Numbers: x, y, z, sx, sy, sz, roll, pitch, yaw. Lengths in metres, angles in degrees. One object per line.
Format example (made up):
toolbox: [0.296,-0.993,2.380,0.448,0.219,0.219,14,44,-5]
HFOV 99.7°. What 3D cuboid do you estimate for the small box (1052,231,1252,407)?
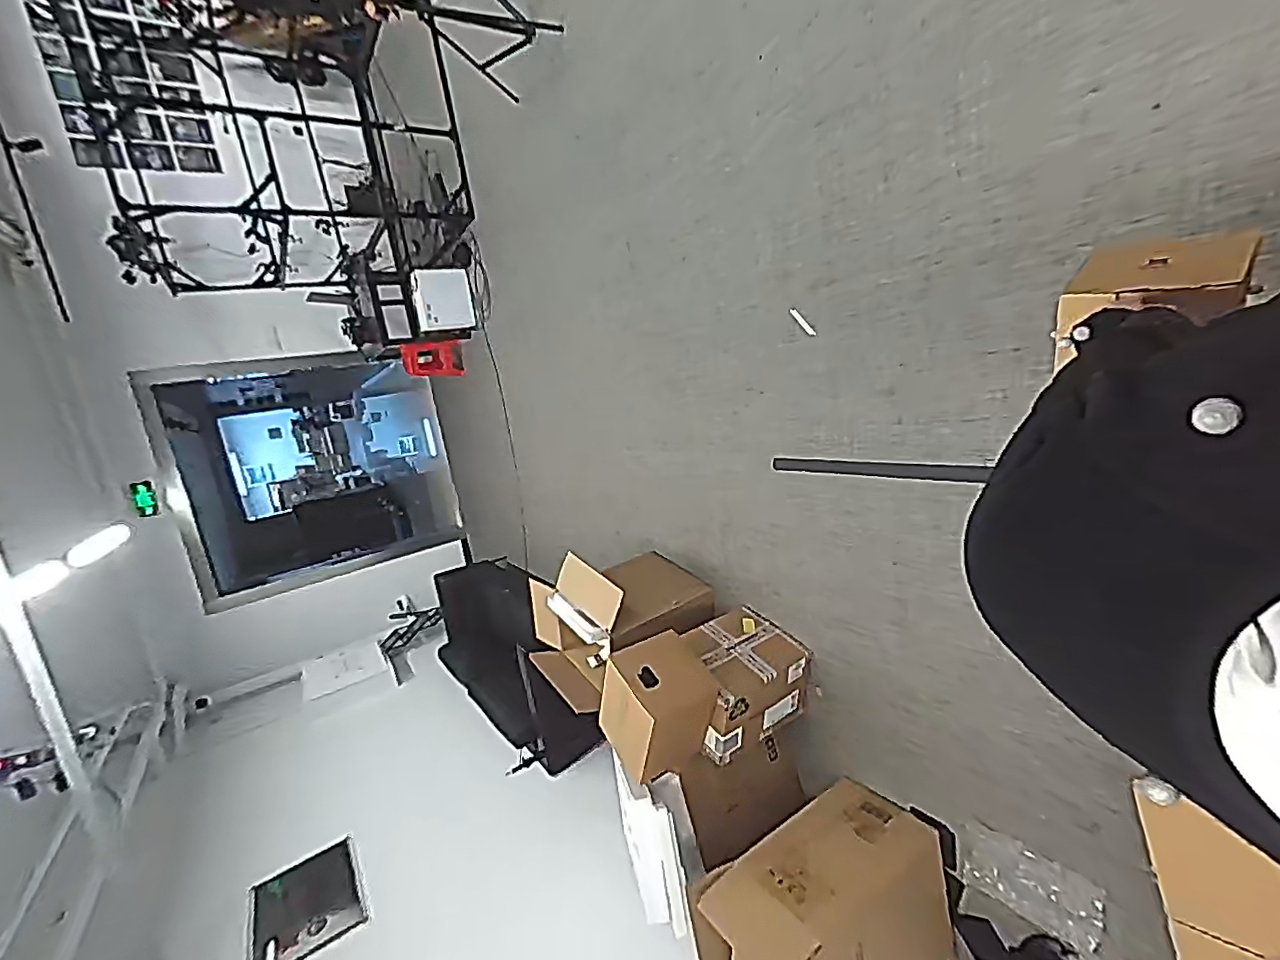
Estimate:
small box: [0.688,-0.214,0.740,0.168,0.179,0.176,16,137,45]
